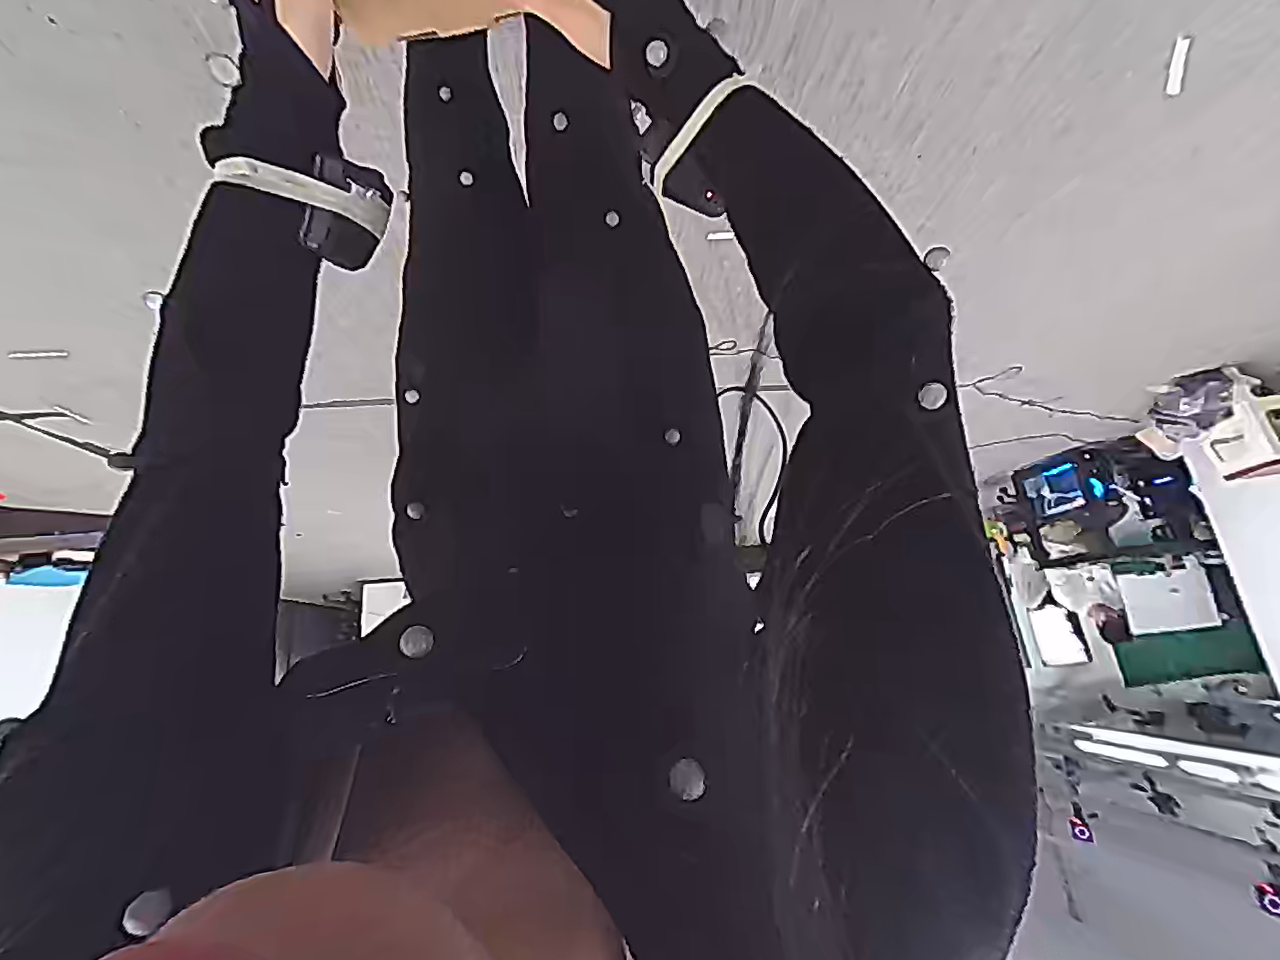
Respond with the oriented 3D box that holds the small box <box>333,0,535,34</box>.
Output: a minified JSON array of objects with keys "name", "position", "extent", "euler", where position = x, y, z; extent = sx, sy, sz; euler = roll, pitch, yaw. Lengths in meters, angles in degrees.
[{"name":"small box","position":[-0.147,-0.435,0.329],"extent":[0.168,0.176,0.179],"euler":[-8,164,5]}]

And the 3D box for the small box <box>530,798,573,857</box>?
[{"name":"small box","position":[-0.395,1.524,2.388],"extent":[0.179,0.176,0.168],"euler":[-4,166,-11]}]
